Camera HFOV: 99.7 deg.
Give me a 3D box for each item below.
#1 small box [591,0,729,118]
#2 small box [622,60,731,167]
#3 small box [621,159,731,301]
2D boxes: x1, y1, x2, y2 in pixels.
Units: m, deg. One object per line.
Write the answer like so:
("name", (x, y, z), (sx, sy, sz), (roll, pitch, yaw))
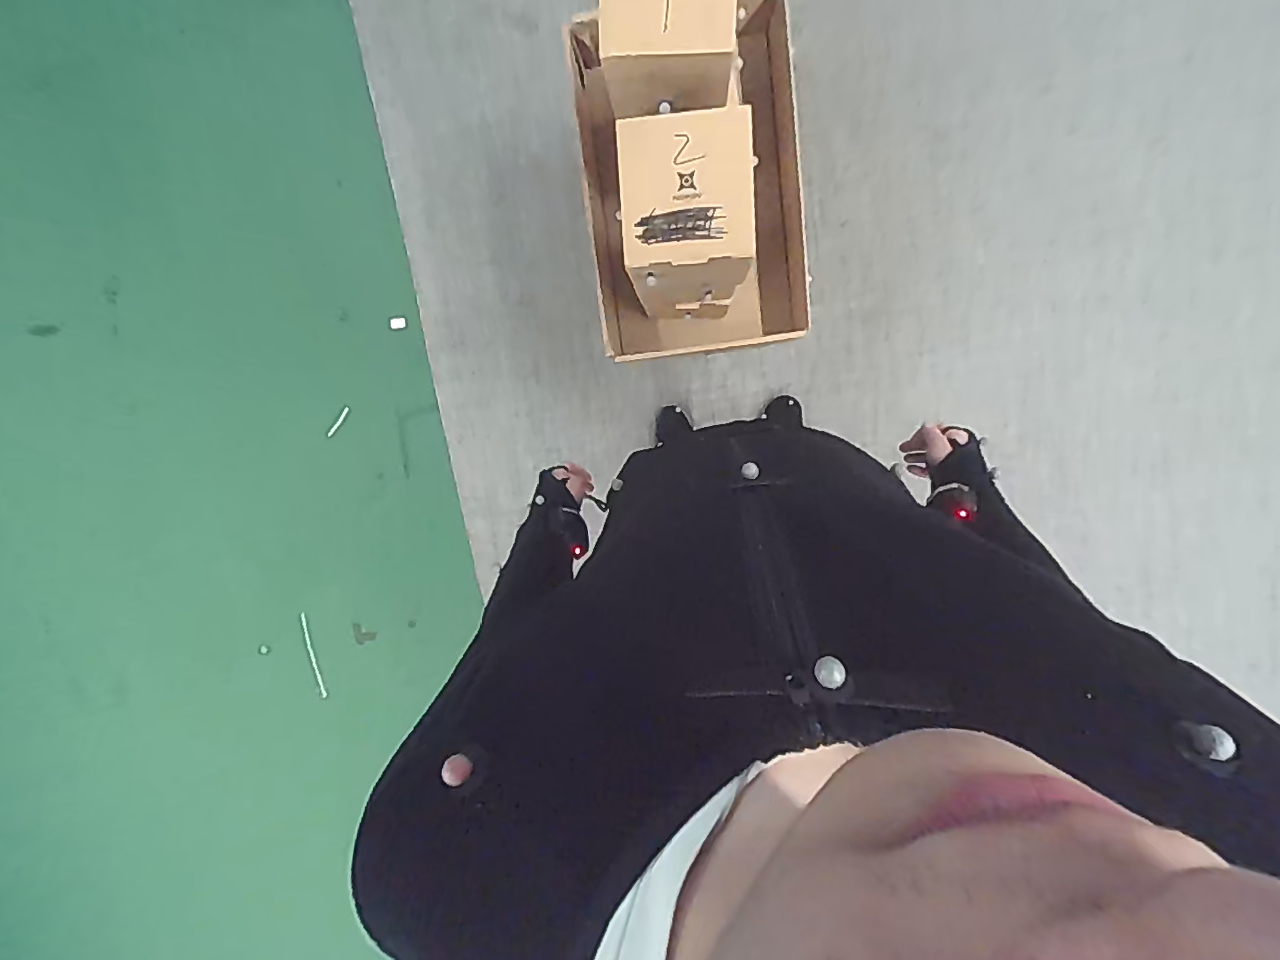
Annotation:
("small box", (0.029, -0.611, 0.711), (0.168, 0.176, 0.179), (2, 102, 4))
("small box", (0.047, -0.637, 0.872), (0.168, 0.176, 0.179), (-8, 100, 6))
("small box", (0.063, -0.403, 0.905), (0.168, 0.176, 0.179), (-3, 98, 5))
